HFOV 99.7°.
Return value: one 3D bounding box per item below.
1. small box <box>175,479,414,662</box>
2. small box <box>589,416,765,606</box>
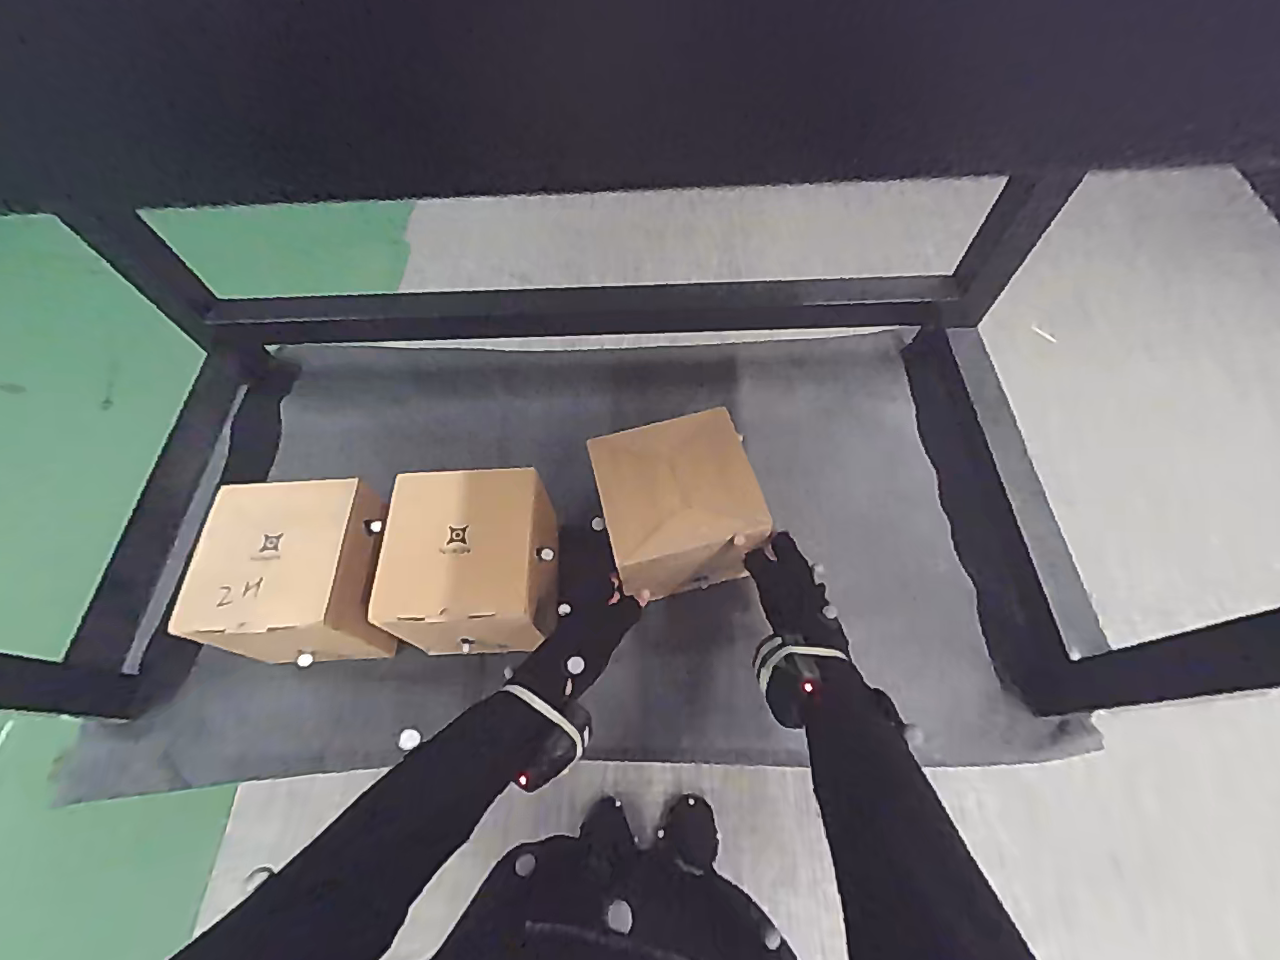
[{"bbox_3d":[-0.399,0.116,0.667,0.168,0.176,0.179,-3,61,1],"label":"small box"},{"bbox_3d":[0.044,0.040,0.686,0.179,0.176,0.168,-14,62,-5],"label":"small box"}]
